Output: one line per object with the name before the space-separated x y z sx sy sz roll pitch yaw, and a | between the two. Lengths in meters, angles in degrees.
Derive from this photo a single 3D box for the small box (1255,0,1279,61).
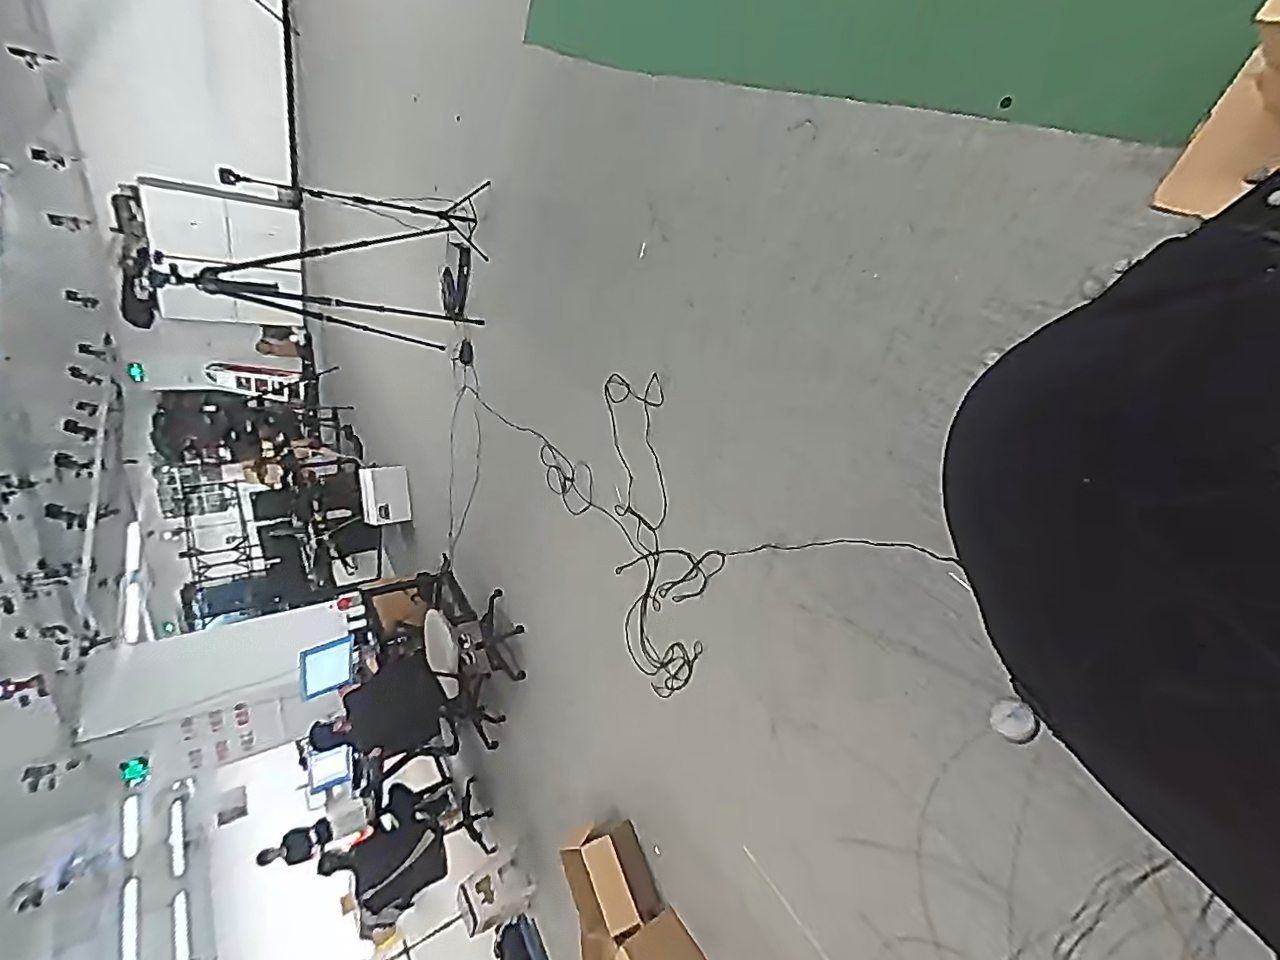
small box | 0.970 -0.646 0.687 0.179 0.176 0.168 51 133 37
